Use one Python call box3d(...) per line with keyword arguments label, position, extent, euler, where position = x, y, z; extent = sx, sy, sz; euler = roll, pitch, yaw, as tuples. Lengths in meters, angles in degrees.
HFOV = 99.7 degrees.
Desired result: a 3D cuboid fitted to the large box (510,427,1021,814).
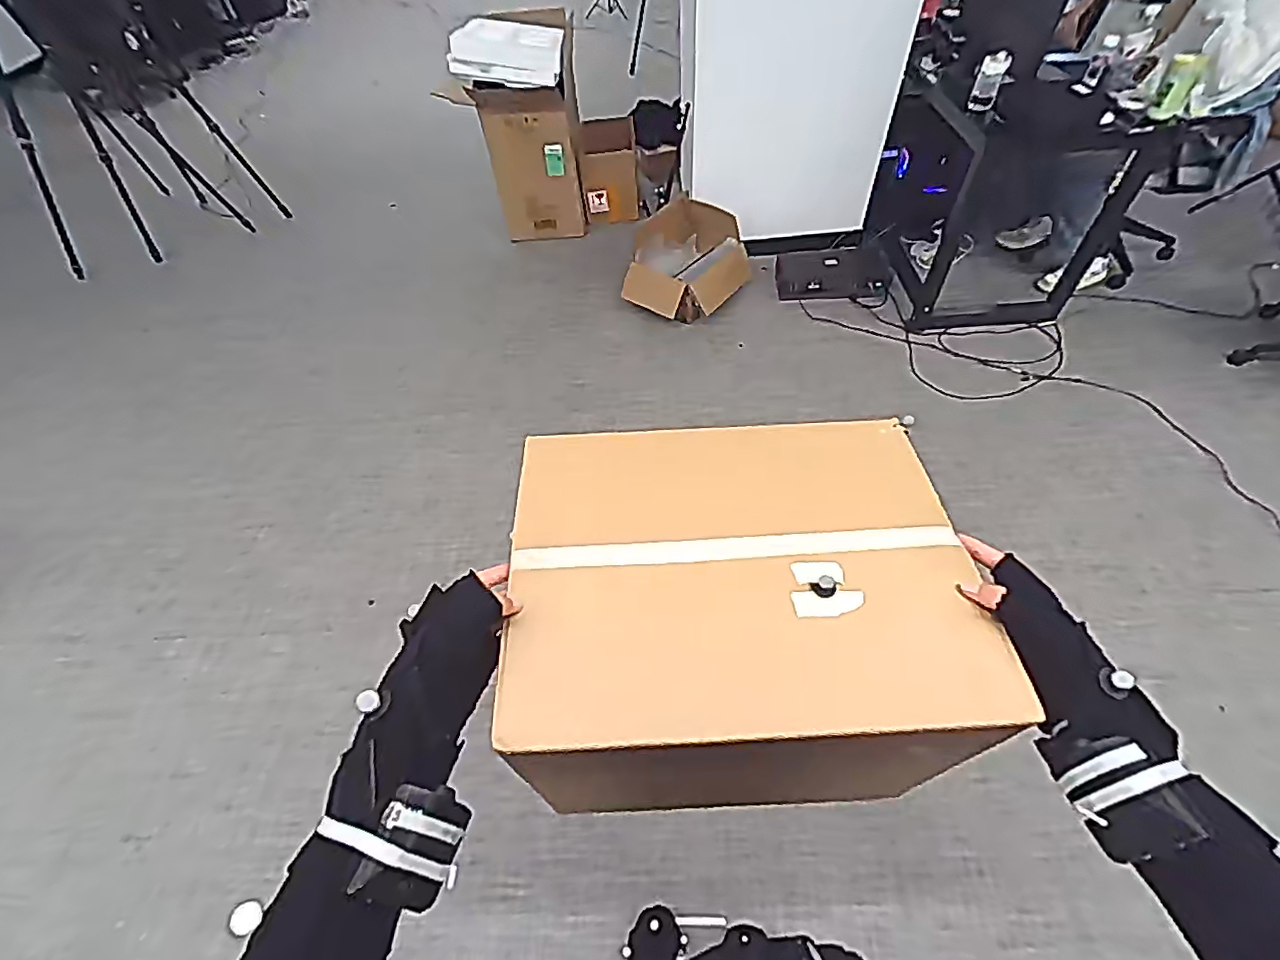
box3d(label="large box", position=(0.090, 0.165, 0.617), extent=(0.408, 0.320, 0.320), euler=(-3, 51, -1))
